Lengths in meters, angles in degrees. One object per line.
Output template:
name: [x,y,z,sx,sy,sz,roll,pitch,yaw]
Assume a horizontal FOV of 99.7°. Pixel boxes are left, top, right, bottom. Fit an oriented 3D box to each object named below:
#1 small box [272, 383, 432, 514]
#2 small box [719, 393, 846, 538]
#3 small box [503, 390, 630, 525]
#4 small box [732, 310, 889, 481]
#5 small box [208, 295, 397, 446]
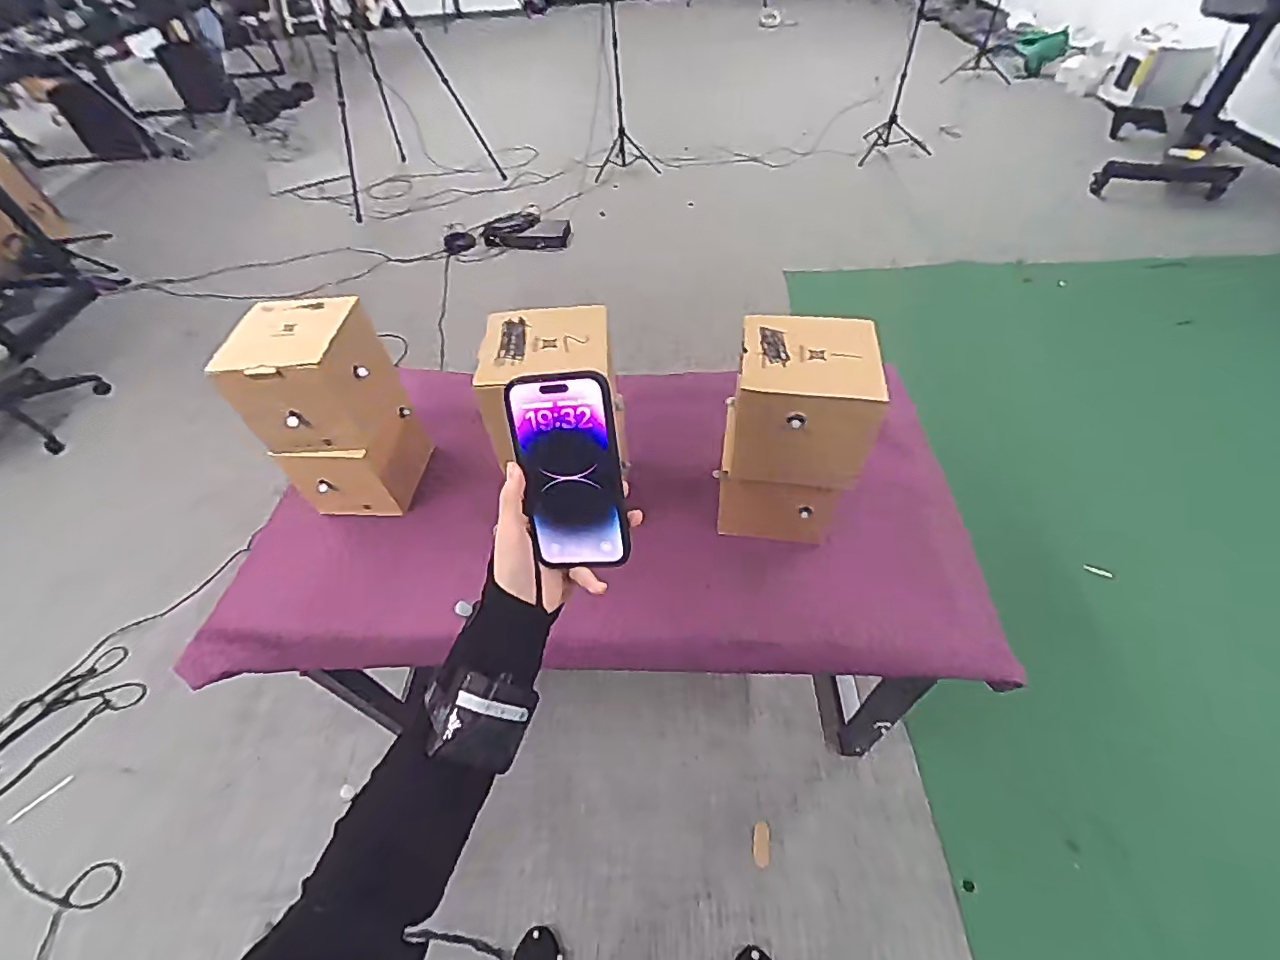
small box: [-0.500,-0.054,0.974,0.168,0.176,0.179,1,50,6]
small box: [0.226,-0.021,0.884,0.179,0.176,0.168,5,50,10]
small box: [-0.112,-0.035,0.923,0.179,0.176,0.168,0,50,5]
small box: [0.223,-0.115,0.749,0.179,0.176,0.168,5,50,8]
small box: [-0.510,-0.166,0.854,0.168,0.176,0.179,-3,50,2]
